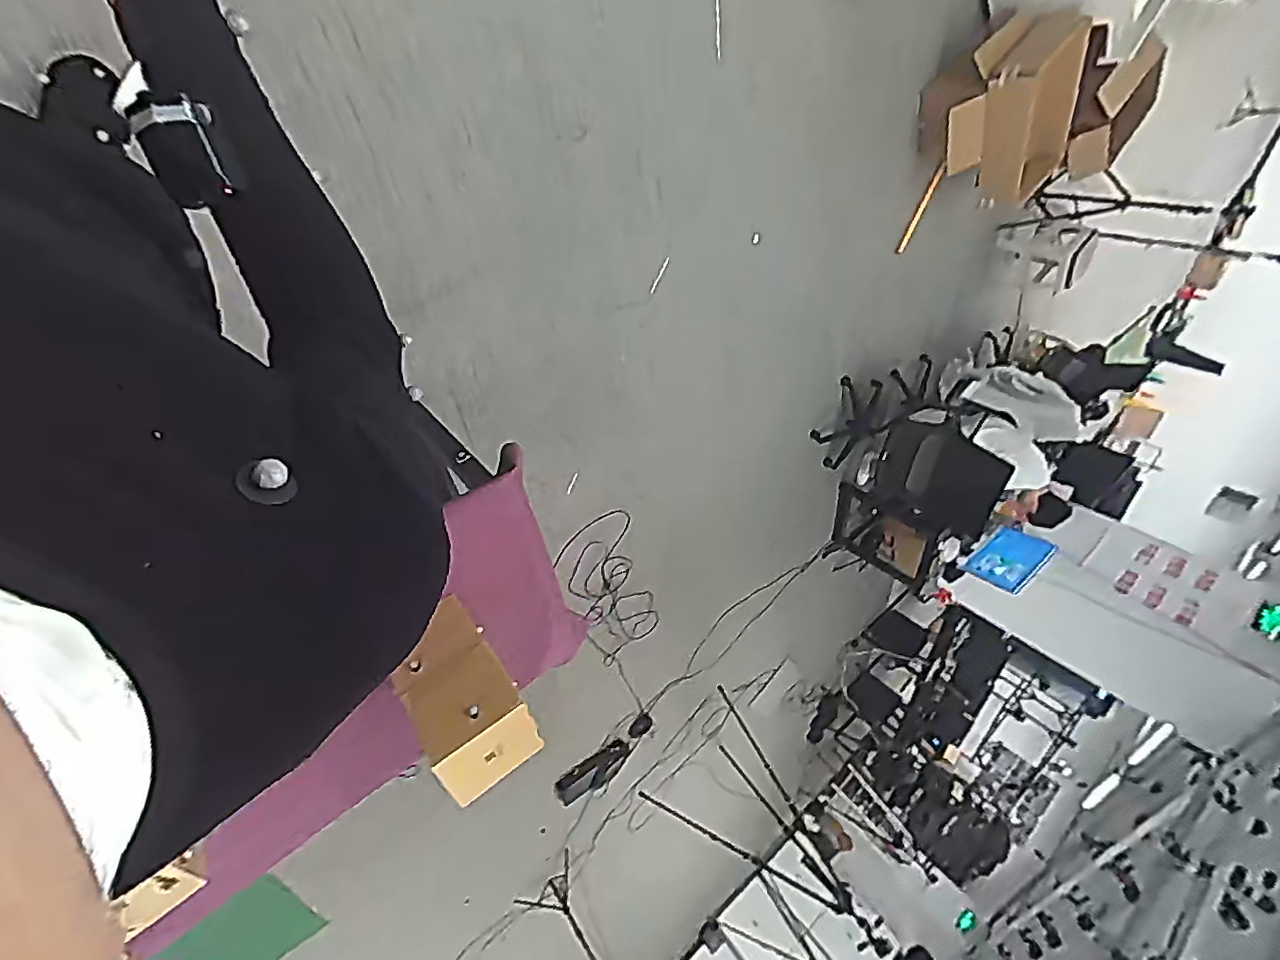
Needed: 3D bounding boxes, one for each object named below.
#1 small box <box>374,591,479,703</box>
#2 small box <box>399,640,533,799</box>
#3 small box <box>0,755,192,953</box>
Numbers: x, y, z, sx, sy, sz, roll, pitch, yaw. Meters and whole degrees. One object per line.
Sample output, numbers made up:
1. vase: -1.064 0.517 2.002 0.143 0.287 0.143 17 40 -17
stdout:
1. small box: -0.427 0.368 1.120 0.179 0.176 0.168 -29 135 -25
2. small box: -0.330 0.441 1.013 0.179 0.176 0.168 -30 134 -26
3. small box: -0.868 0.591 0.868 0.179 0.176 0.168 -30 135 -24
